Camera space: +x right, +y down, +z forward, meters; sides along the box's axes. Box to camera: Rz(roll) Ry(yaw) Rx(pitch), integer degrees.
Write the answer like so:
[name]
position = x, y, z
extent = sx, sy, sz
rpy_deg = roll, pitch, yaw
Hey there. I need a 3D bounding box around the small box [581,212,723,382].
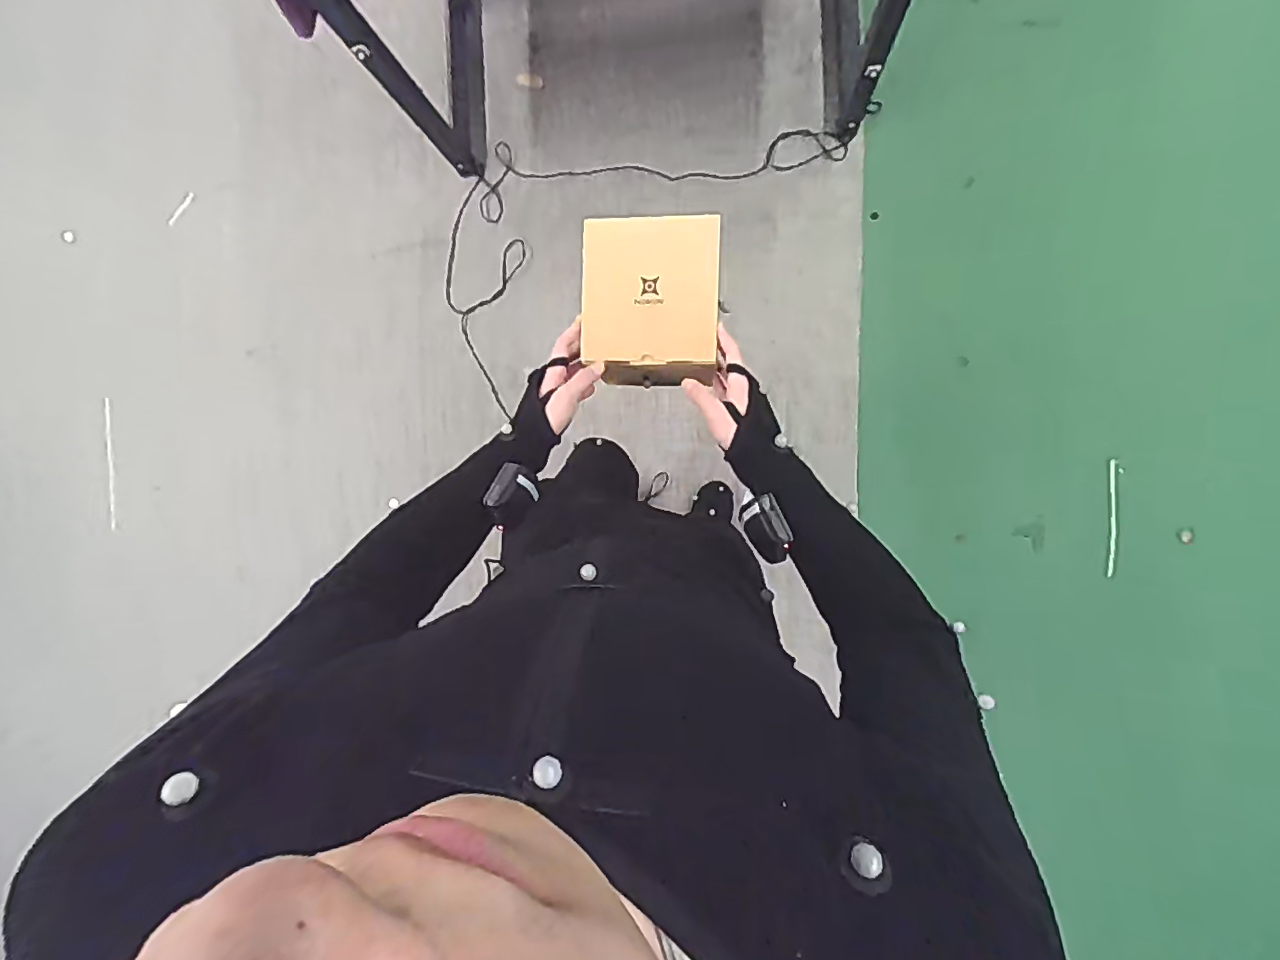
[small box]
position = 0.020, -0.232, 0.722
extent = 0.168, 0.176, 0.179
rpy_deg = 2, 93, 6
